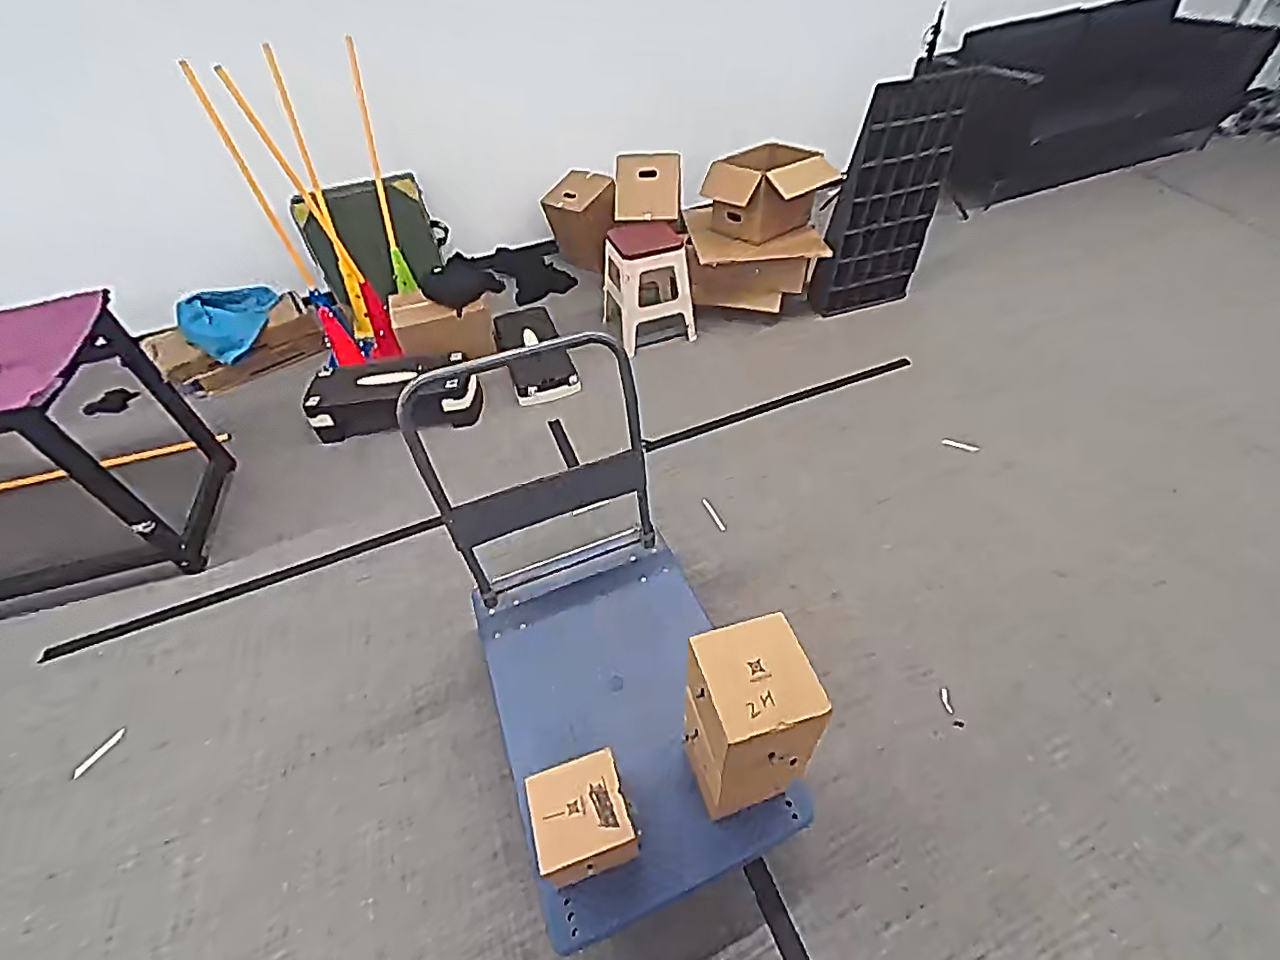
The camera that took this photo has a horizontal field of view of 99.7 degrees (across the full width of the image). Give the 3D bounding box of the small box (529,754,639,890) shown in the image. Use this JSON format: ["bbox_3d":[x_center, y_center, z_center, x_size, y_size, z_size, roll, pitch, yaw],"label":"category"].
[{"bbox_3d":[-0.105,0.672,1.062,0.179,0.176,0.168,-16,47,-9],"label":"small box"}]

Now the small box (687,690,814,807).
[{"bbox_3d":[0.196,0.475,1.001,0.179,0.176,0.168,-14,47,-10],"label":"small box"}]

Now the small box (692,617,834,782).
[{"bbox_3d":[0.186,0.359,0.884,0.168,0.176,0.179,-13,47,-8],"label":"small box"}]
